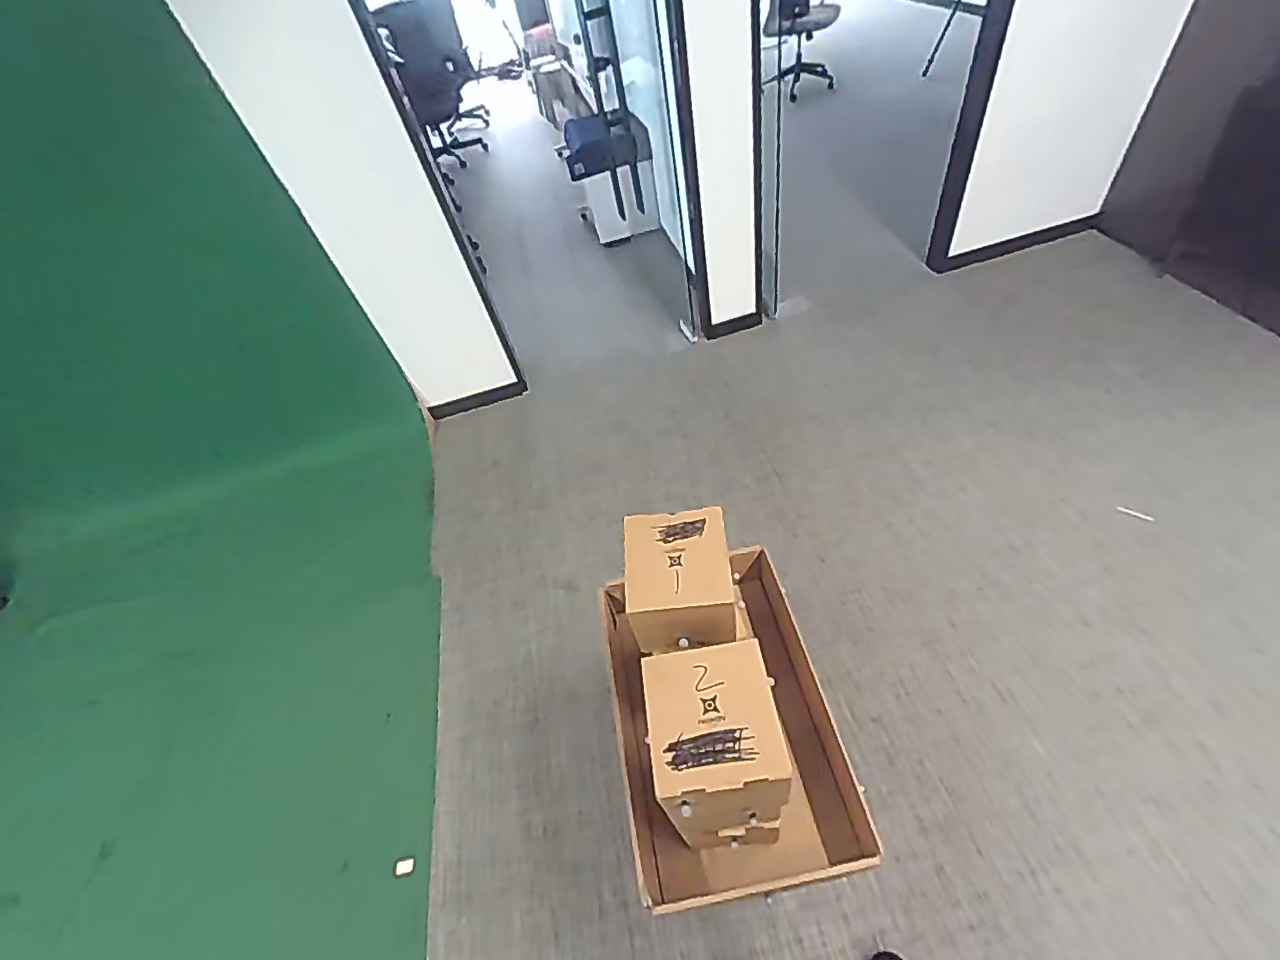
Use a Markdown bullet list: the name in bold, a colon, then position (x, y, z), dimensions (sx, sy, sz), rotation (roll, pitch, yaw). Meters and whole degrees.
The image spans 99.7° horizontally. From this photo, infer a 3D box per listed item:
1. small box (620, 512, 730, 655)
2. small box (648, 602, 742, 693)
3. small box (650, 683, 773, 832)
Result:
- **small box**: position (0.060, 0.177, 0.914), dimensions (0.168, 0.176, 0.179), rotation (-7, 52, 6)
- **small box**: position (0.091, 0.282, 1.038), dimensions (0.168, 0.176, 0.179), rotation (-14, 51, -1)
- **small box**: position (0.115, 0.456, 0.879), dimensions (0.168, 0.176, 0.179), rotation (-10, 47, 3)
